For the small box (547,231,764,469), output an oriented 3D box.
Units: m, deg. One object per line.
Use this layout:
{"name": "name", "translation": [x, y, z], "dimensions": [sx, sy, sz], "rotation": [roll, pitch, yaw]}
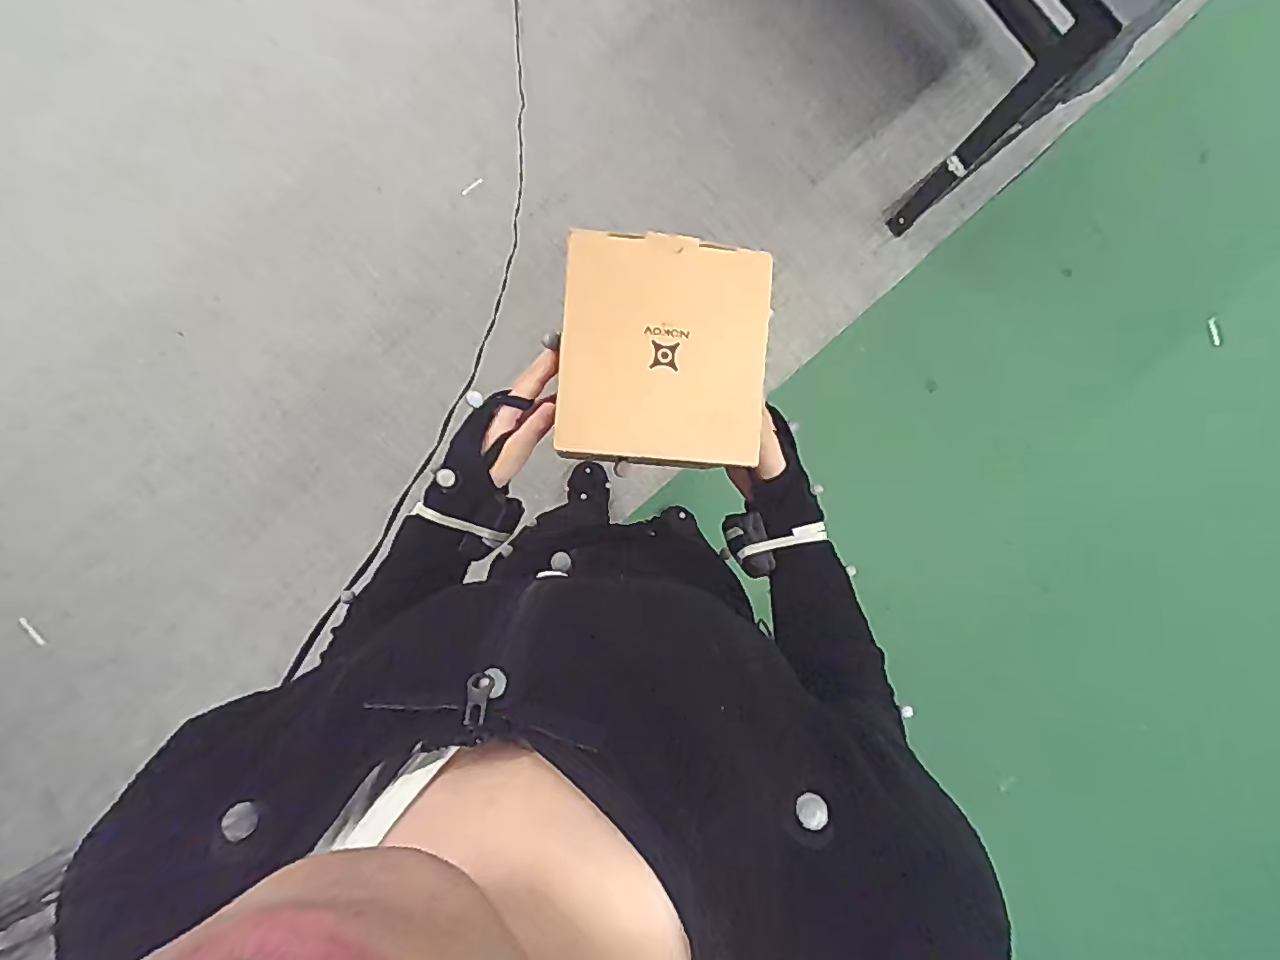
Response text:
{"name": "small box", "translation": [0.006, -0.103, 0.511], "dimensions": [0.168, 0.176, 0.179], "rotation": [4, 88, -6]}
